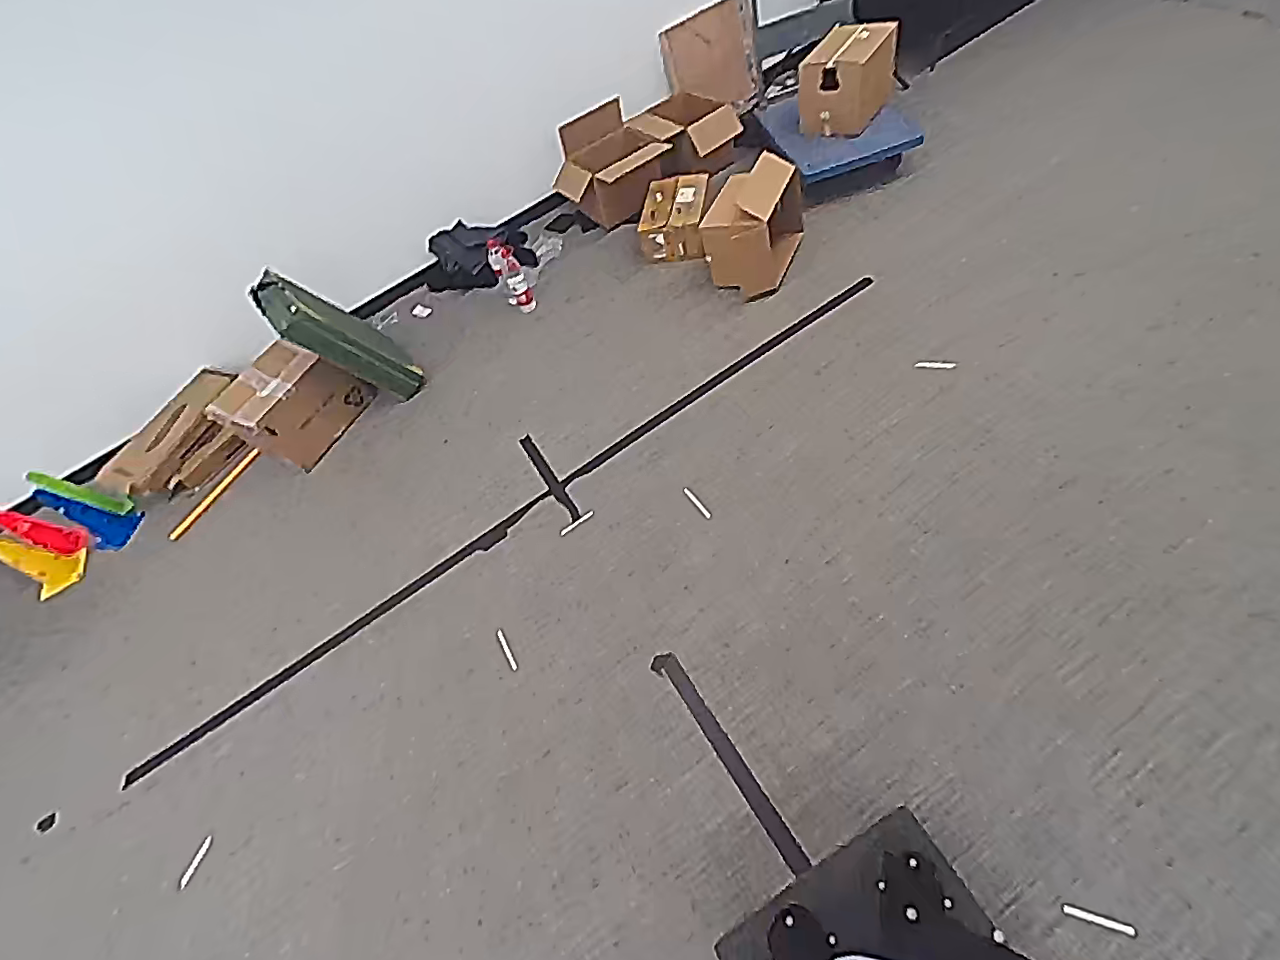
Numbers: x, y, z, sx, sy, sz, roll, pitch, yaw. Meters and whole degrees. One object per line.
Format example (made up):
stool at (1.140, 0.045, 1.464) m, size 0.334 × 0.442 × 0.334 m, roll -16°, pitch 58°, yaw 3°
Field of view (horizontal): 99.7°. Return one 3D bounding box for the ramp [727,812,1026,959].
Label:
ramp at (0.633, 1.175, 0.881) m, size 0.509 × 0.206 × 0.991 m, roll -34°, pitch 52°, yaw -9°
